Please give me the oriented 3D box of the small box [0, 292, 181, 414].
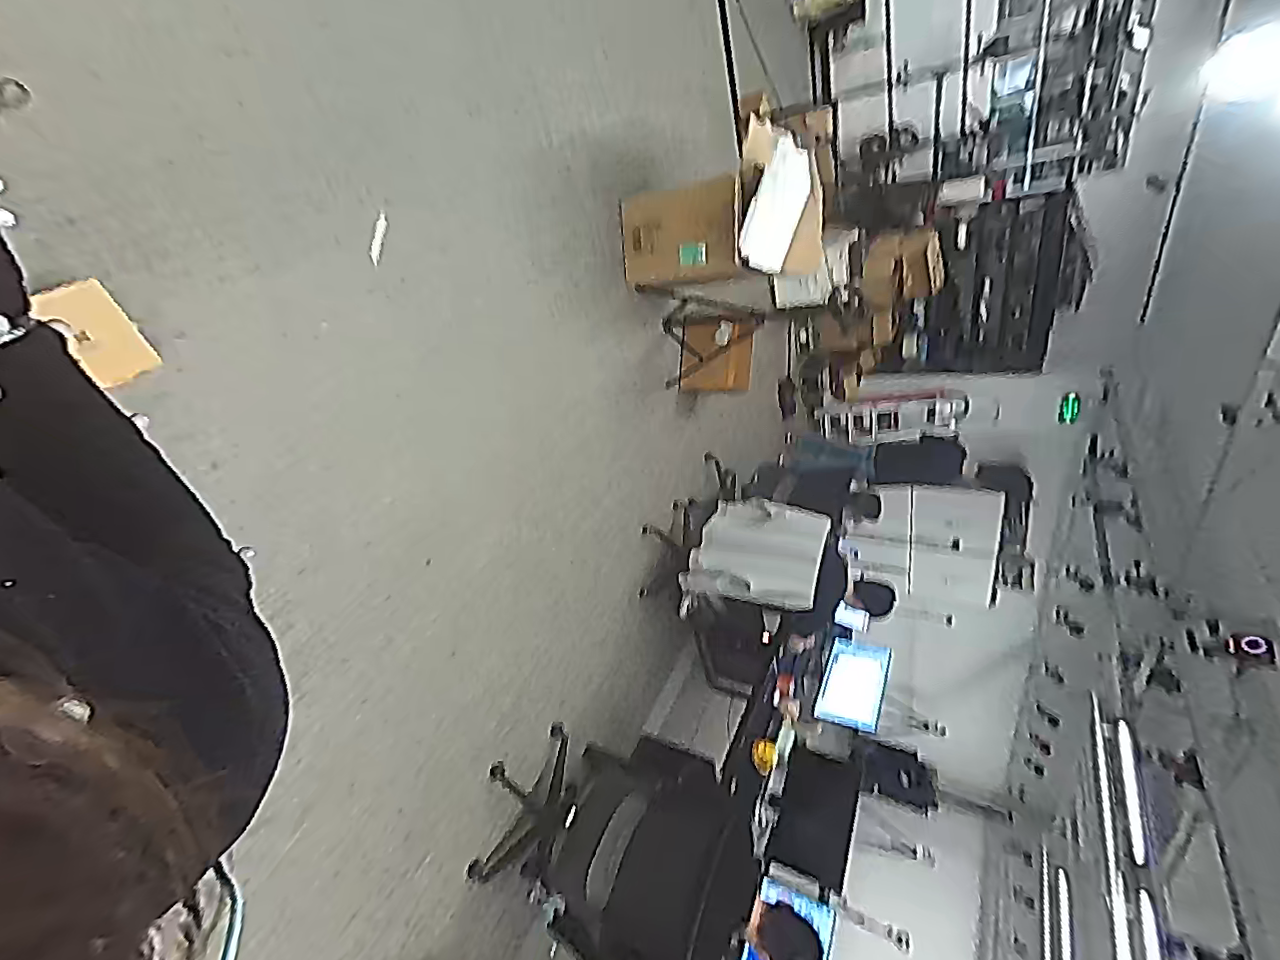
[{"bbox_3d":[-1.043,-0.237,1.020,0.179,0.176,0.168,-77,172,-47],"label":"small box"}]
